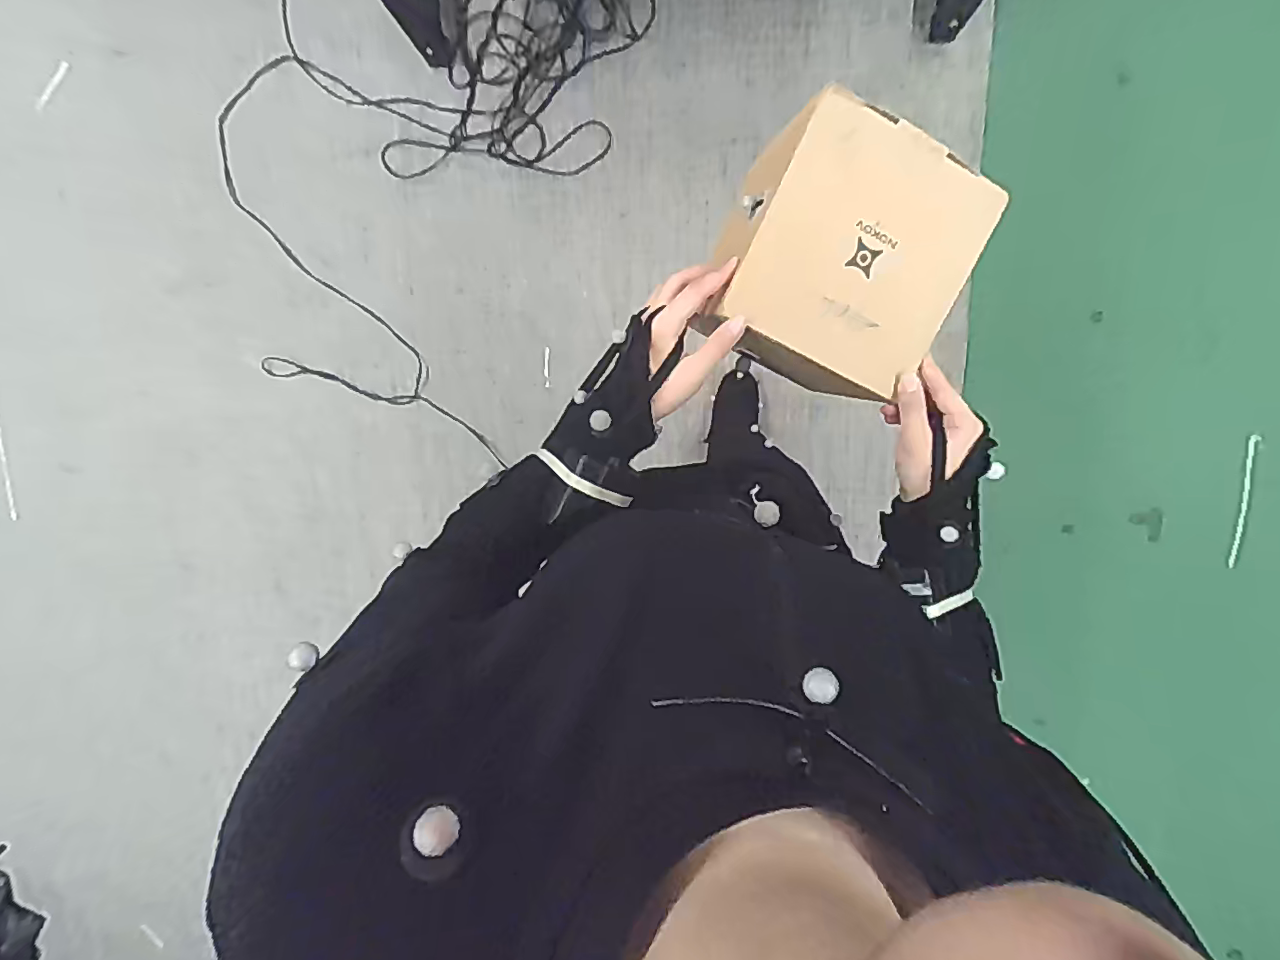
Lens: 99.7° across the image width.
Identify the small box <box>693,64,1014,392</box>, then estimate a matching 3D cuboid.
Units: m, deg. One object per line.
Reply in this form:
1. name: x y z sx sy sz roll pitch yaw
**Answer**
1. small box: 0.161 -0.195 0.475 0.168 0.176 0.179 24 100 -10
